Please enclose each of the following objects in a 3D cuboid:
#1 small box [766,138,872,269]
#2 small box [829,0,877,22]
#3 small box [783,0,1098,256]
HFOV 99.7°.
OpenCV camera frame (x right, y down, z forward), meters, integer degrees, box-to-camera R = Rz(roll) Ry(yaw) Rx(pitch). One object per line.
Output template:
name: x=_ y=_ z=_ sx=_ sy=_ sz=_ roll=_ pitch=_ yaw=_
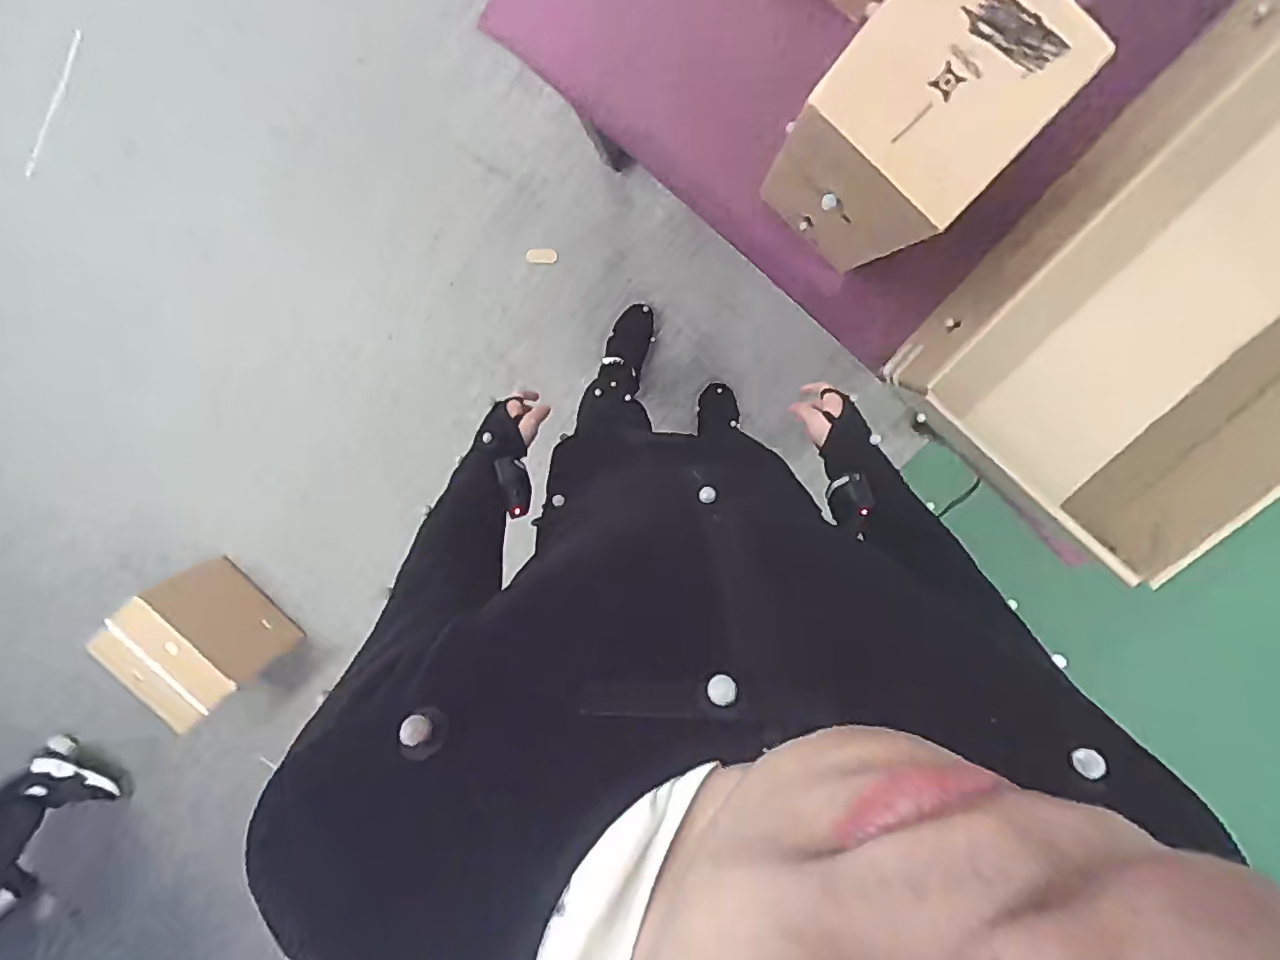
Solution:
small box: x=0.276 y=-0.393 z=0.683 sx=0.168 sy=0.176 sz=0.179 roll=41 pitch=105 yaw=-7
small box: x=0.268 y=-0.685 z=0.607 sx=0.168 sy=0.176 sz=0.179 roll=40 pitch=105 yaw=-7
small box: x=0.263 y=-0.349 z=0.526 sx=0.168 sy=0.176 sz=0.179 roll=41 pitch=105 yaw=-5
